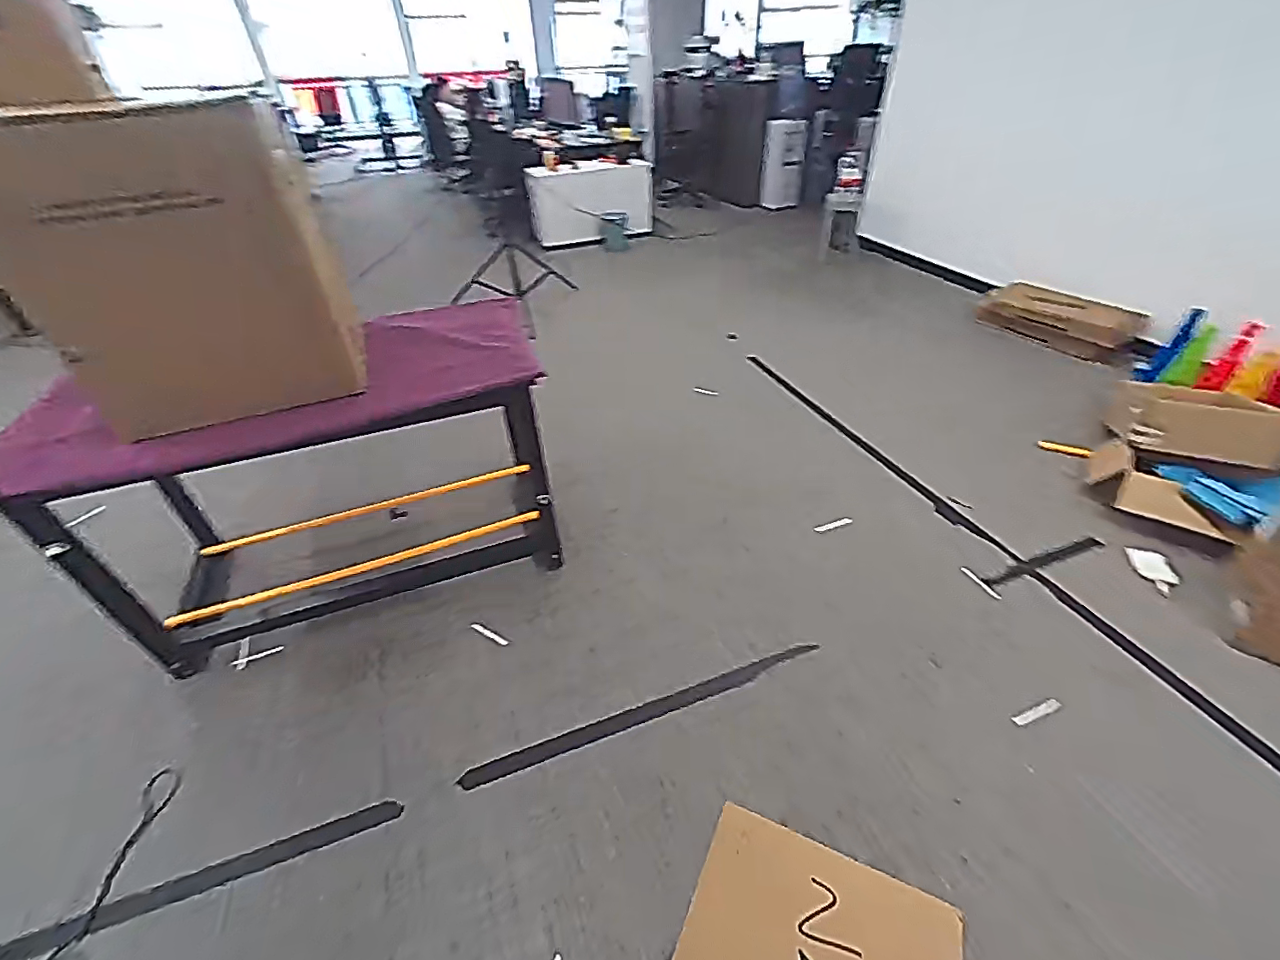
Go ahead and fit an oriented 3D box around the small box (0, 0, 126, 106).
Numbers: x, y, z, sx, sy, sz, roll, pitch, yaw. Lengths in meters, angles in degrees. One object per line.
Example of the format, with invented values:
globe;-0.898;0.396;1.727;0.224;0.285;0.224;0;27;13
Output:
small box;-1.173;-0.836;1.053;0.179;0.176;0.168;-17;41;-19
